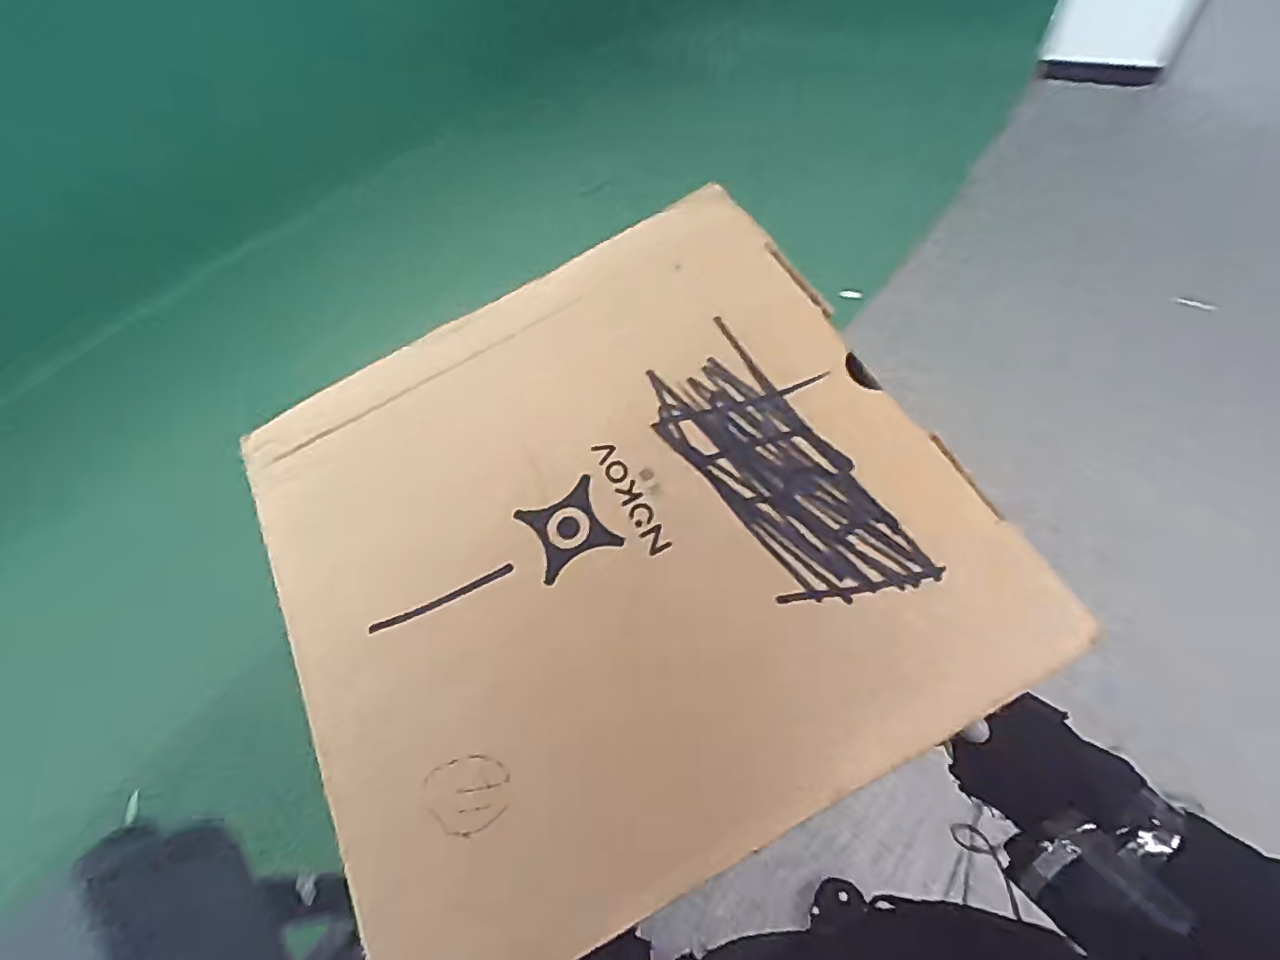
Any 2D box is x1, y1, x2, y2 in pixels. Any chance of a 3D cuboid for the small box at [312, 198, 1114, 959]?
[{"bbox_3d":[0.015,0.034,0.229,0.179,0.176,0.168,-30,68,-5],"label":"small box"}]
